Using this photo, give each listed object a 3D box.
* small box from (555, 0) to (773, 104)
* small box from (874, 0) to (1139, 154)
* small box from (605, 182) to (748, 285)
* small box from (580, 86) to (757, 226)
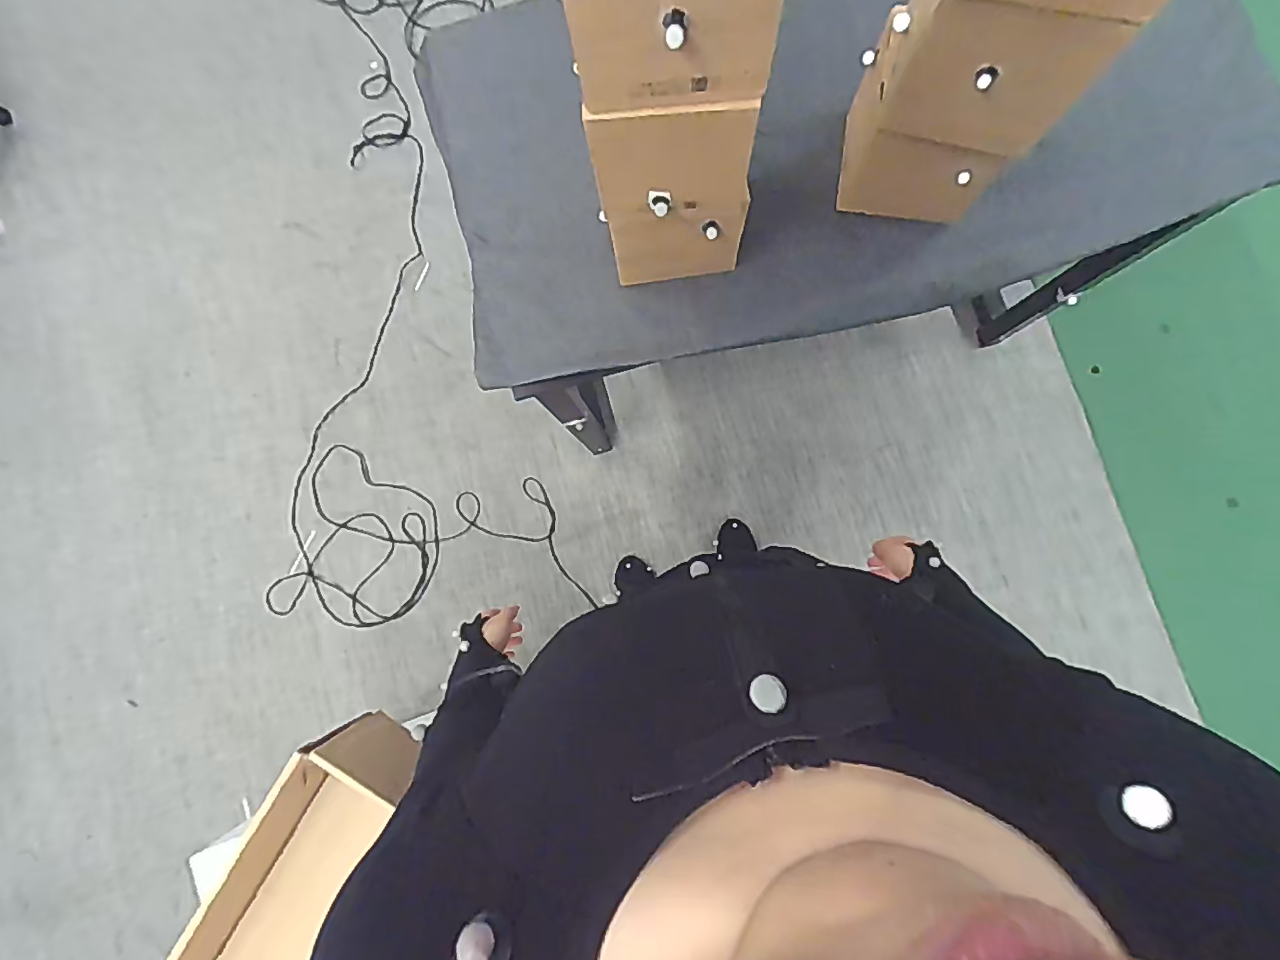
[{"bbox_3d":[0.017,-0.431,0.422,0.168,0.176,0.179,-3,84,4],"label":"small box"},{"bbox_3d":[0.377,-0.482,0.567,0.179,0.176,0.168,16,84,6],"label":"small box"},{"bbox_3d":[0.040,-0.391,0.745,0.179,0.176,0.168,-7,82,3],"label":"small box"},{"bbox_3d":[0.029,-0.406,0.584,0.168,0.176,0.179,-2,84,5],"label":"small box"}]
